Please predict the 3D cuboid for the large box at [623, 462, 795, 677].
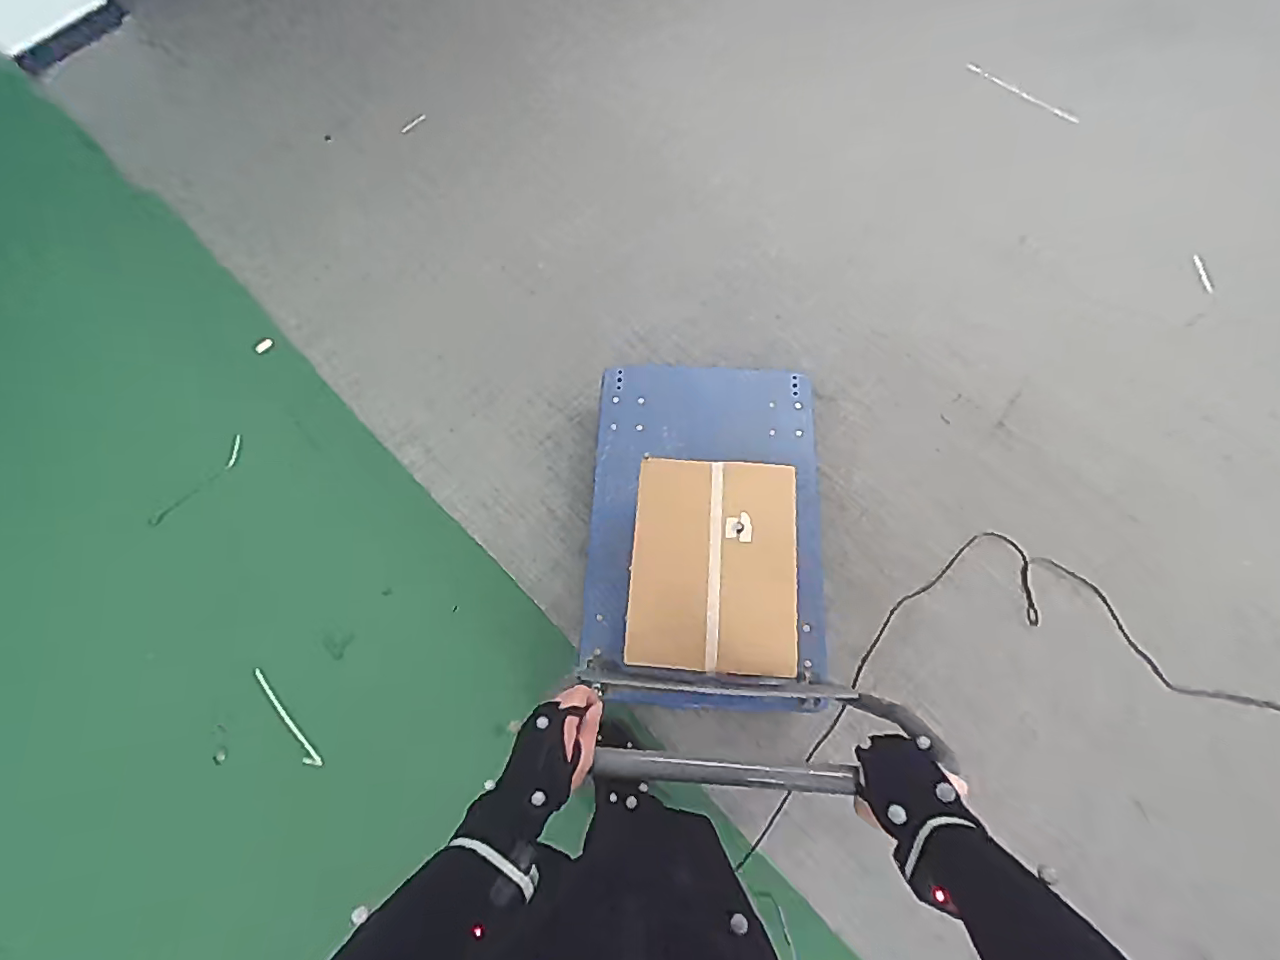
[{"bbox_3d":[0.143,0.207,1.172,0.320,0.320,0.408,3,71,4],"label":"large box"}]
